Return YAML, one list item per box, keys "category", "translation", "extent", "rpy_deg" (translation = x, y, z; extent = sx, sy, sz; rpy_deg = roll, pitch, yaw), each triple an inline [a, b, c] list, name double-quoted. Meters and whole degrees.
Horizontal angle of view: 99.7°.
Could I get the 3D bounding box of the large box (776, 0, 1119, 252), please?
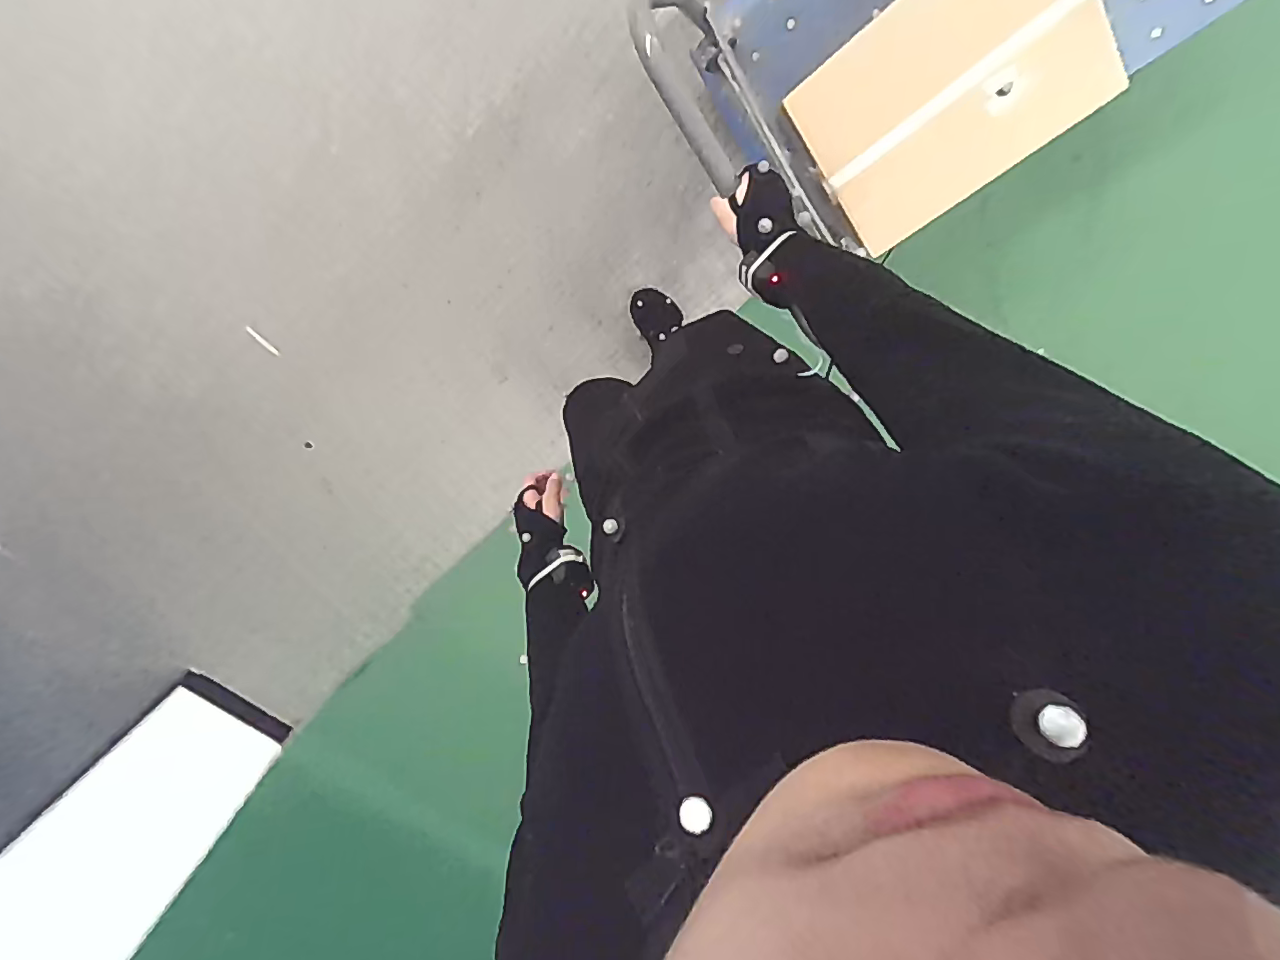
- category: "large box"
  translation: [0.502, -0.685, 0.976]
  extent: [0.408, 0.320, 0.320]
  rpy_deg: [-31, 110, 26]
